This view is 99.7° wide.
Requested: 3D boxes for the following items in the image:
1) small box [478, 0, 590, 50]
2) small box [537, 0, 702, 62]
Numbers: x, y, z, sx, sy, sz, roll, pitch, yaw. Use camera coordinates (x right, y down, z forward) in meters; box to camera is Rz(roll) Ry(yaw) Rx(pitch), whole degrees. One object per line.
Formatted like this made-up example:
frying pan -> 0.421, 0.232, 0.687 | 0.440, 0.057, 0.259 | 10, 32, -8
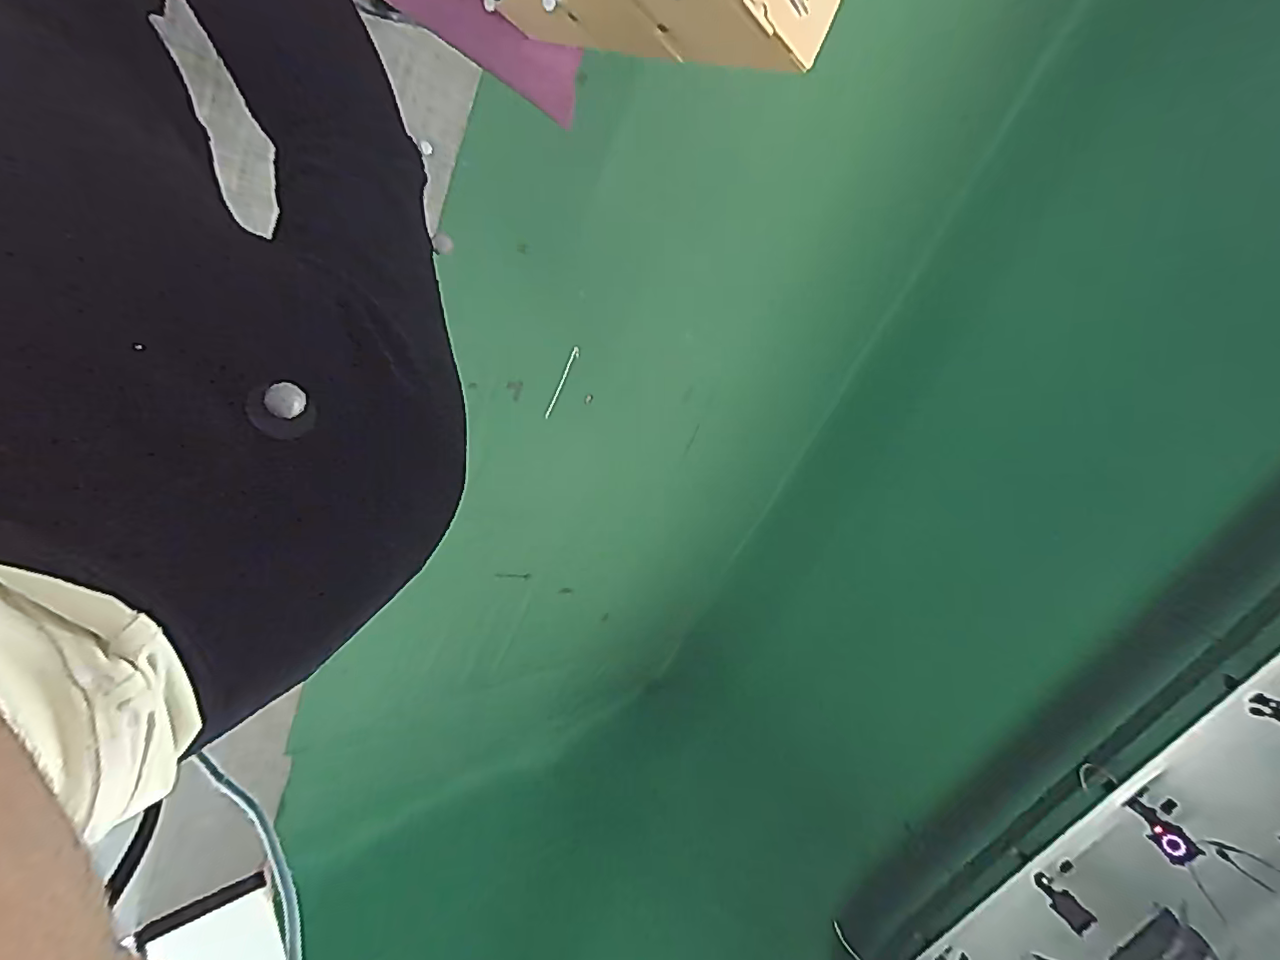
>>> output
small box -> -0.133, -0.663, 0.640 | 0.179, 0.176, 0.168 | 5, 119, -51
small box -> -0.027, -0.578, 0.550 | 0.168, 0.176, 0.179 | 6, 119, -49
